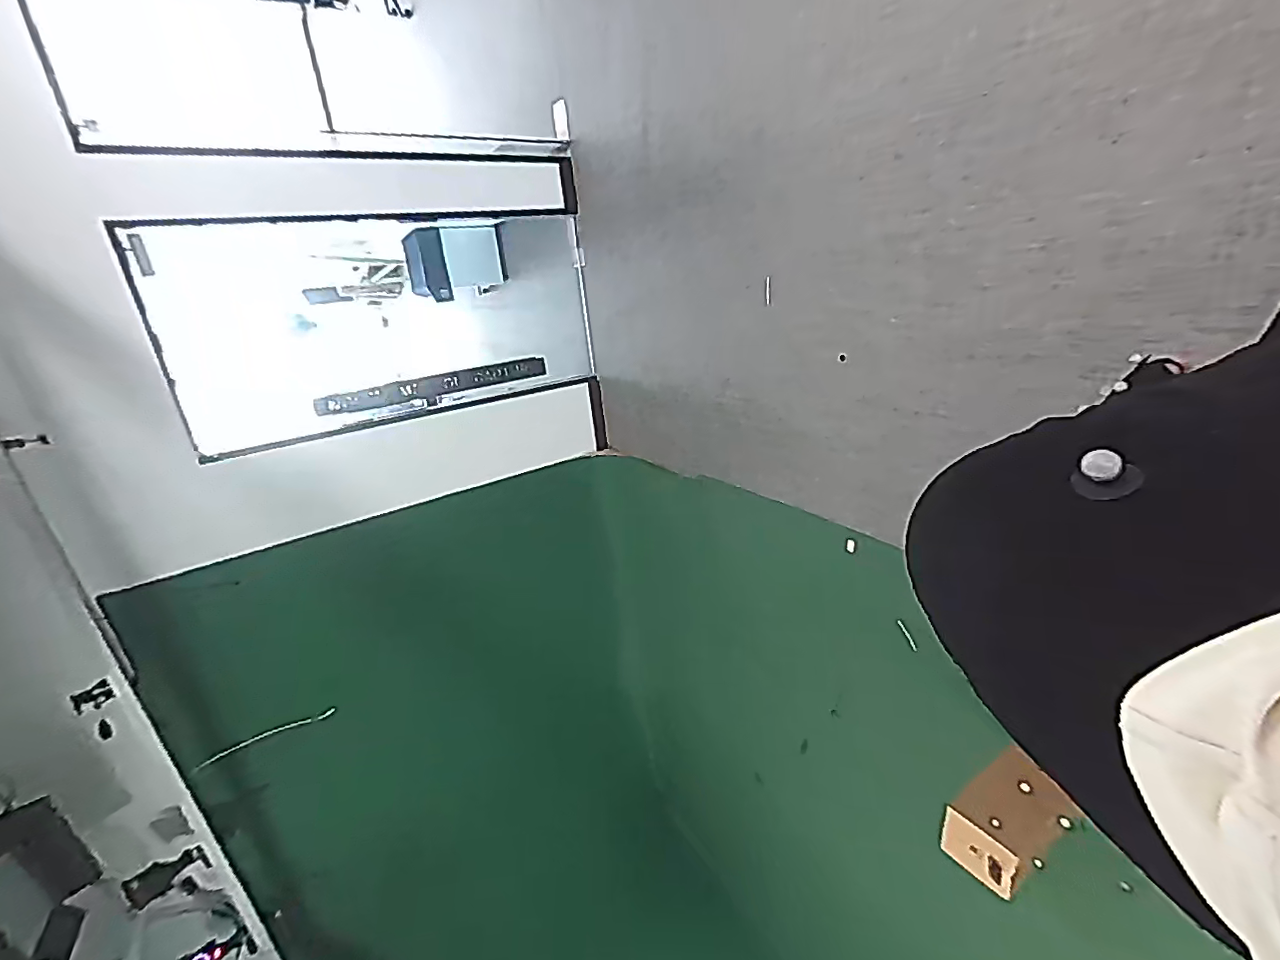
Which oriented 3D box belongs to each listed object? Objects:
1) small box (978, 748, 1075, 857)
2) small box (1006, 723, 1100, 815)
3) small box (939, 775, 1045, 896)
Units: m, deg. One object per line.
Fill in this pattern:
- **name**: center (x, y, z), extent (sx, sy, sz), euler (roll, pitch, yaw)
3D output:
- **small box**: center (1.078, 0.896, 1.527), extent (0.179, 0.176, 0.168), euler (26, 127, 51)
- **small box**: center (1.214, 0.857, 1.608), extent (0.179, 0.176, 0.168), euler (28, 128, 52)
- **small box**: center (0.942, 0.941, 1.448), extent (0.179, 0.176, 0.168), euler (27, 127, 53)
